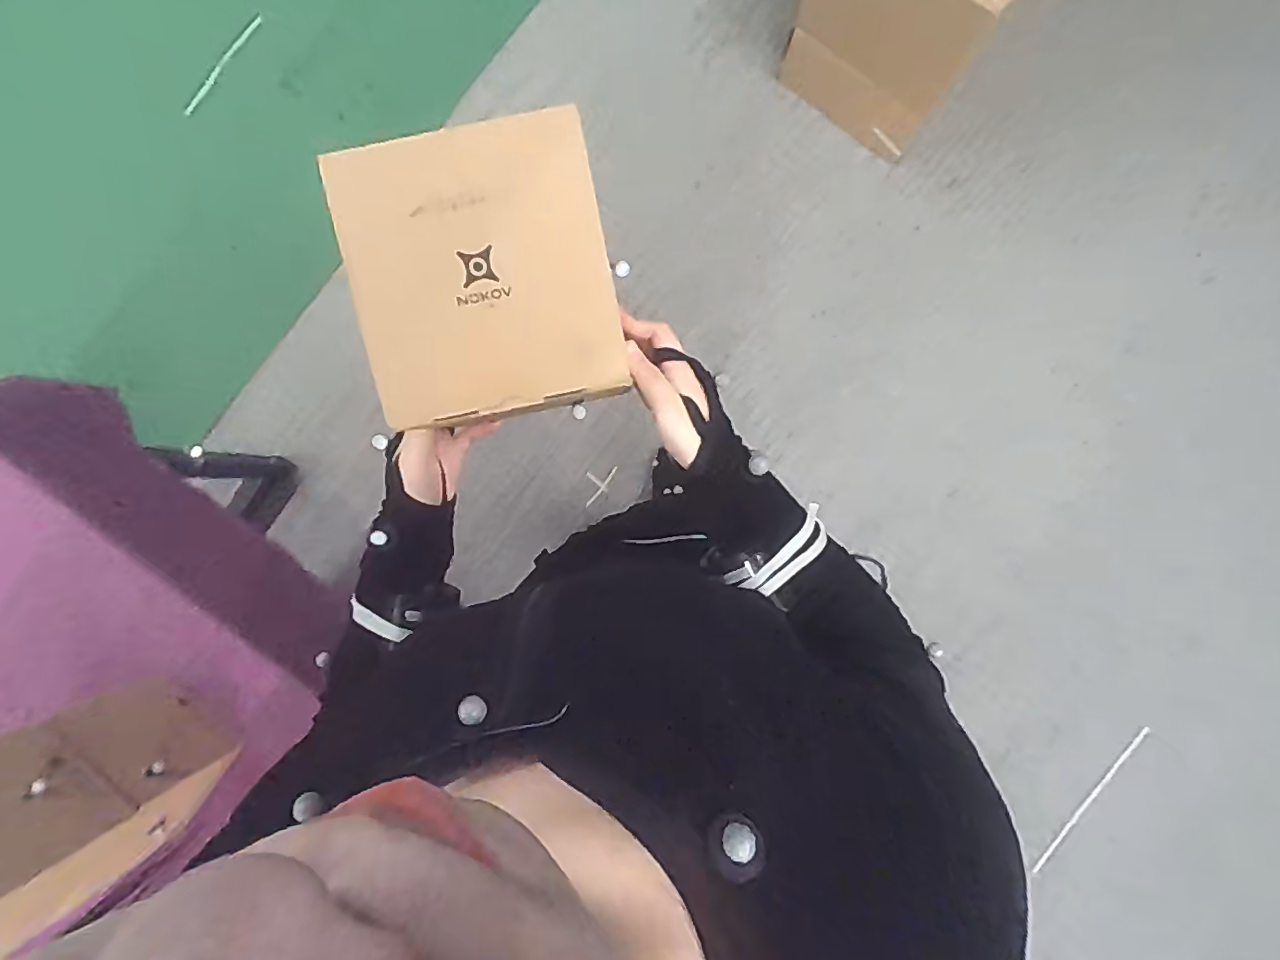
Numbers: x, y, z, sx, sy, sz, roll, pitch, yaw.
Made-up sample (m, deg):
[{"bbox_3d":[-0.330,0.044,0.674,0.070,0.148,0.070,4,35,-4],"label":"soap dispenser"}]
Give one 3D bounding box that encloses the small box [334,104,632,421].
[{"bbox_3d":[-0.099,-0.148,0.426,0.168,0.176,0.179,-10,98,-1],"label":"small box"}]
